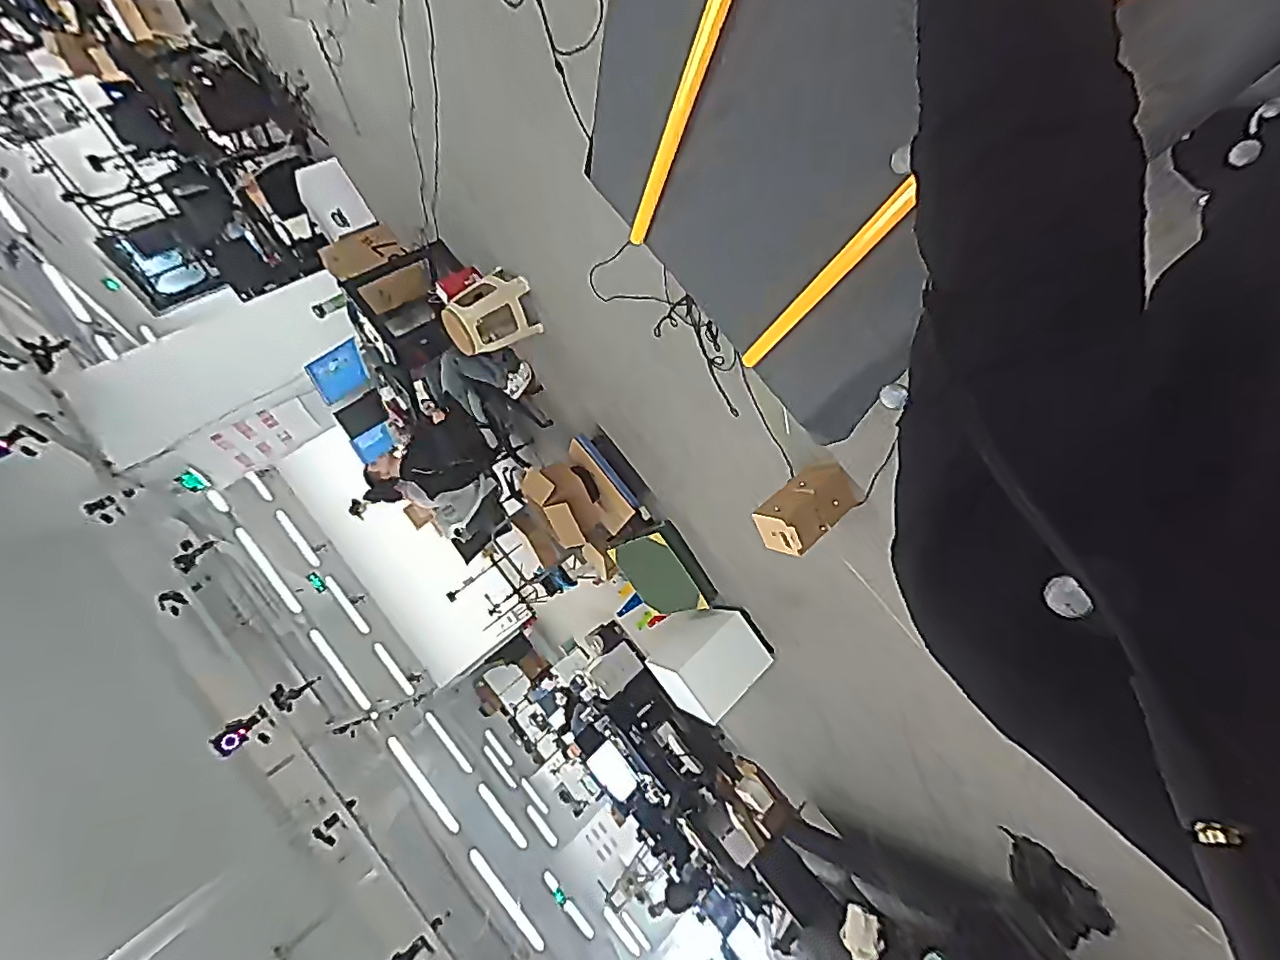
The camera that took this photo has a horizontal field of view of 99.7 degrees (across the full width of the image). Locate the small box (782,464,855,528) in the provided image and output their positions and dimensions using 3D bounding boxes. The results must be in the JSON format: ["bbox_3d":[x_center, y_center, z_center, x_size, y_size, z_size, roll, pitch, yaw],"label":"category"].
[{"bbox_3d":[0.682,0.057,2.056,0.179,0.176,0.168,60,156,-15],"label":"small box"}]

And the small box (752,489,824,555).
[{"bbox_3d":[0.557,0.149,2.002,0.179,0.176,0.168,10,131,59],"label":"small box"}]
